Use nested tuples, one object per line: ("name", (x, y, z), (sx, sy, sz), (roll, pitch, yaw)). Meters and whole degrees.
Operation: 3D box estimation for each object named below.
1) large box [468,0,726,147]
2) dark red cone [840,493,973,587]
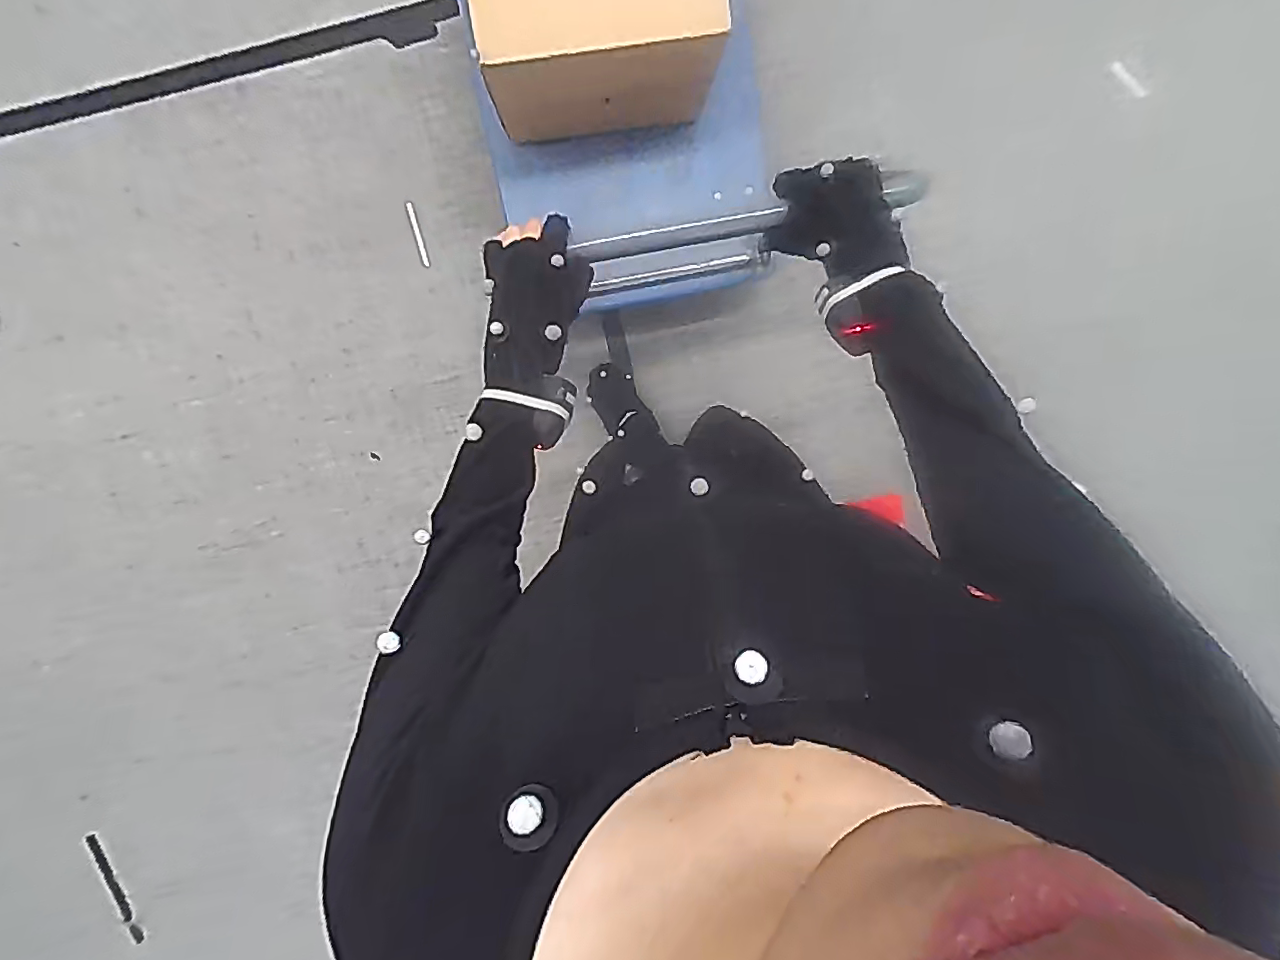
("large box", (-0.086, -0.853, 0.977), (0.408, 0.320, 0.320), (-9, 101, -1))
("dark red cone", (0.679, 0.179, 1.347), (0.201, 0.394, 0.202), (-14, 102, -2))
